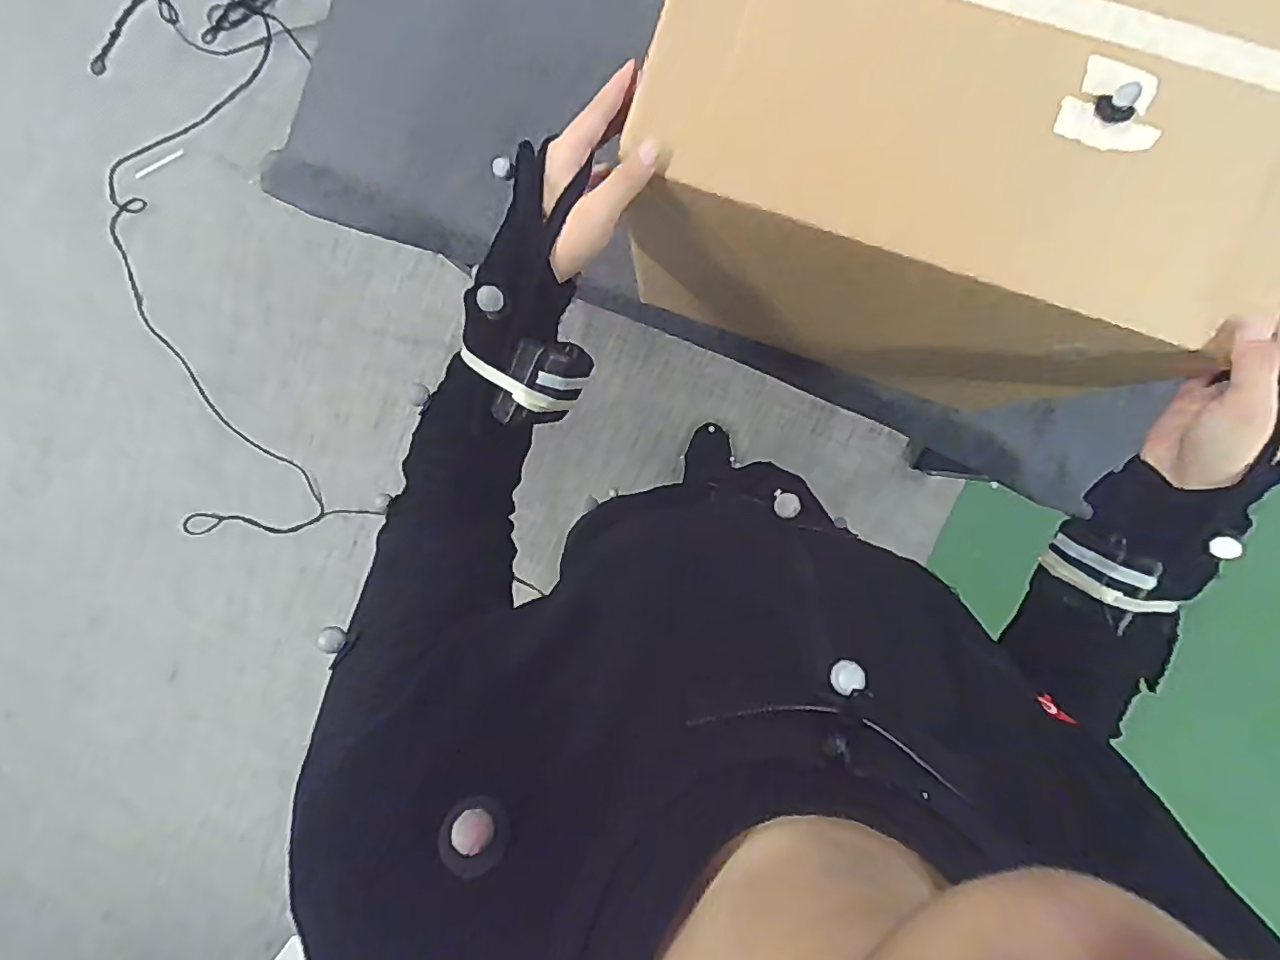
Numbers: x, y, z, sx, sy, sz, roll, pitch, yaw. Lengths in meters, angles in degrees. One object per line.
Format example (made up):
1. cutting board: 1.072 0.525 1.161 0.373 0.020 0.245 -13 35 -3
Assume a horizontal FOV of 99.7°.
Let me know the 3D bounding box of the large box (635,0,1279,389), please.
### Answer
1. large box: 0.230 -0.299 0.474 0.408 0.320 0.320 19 94 0
